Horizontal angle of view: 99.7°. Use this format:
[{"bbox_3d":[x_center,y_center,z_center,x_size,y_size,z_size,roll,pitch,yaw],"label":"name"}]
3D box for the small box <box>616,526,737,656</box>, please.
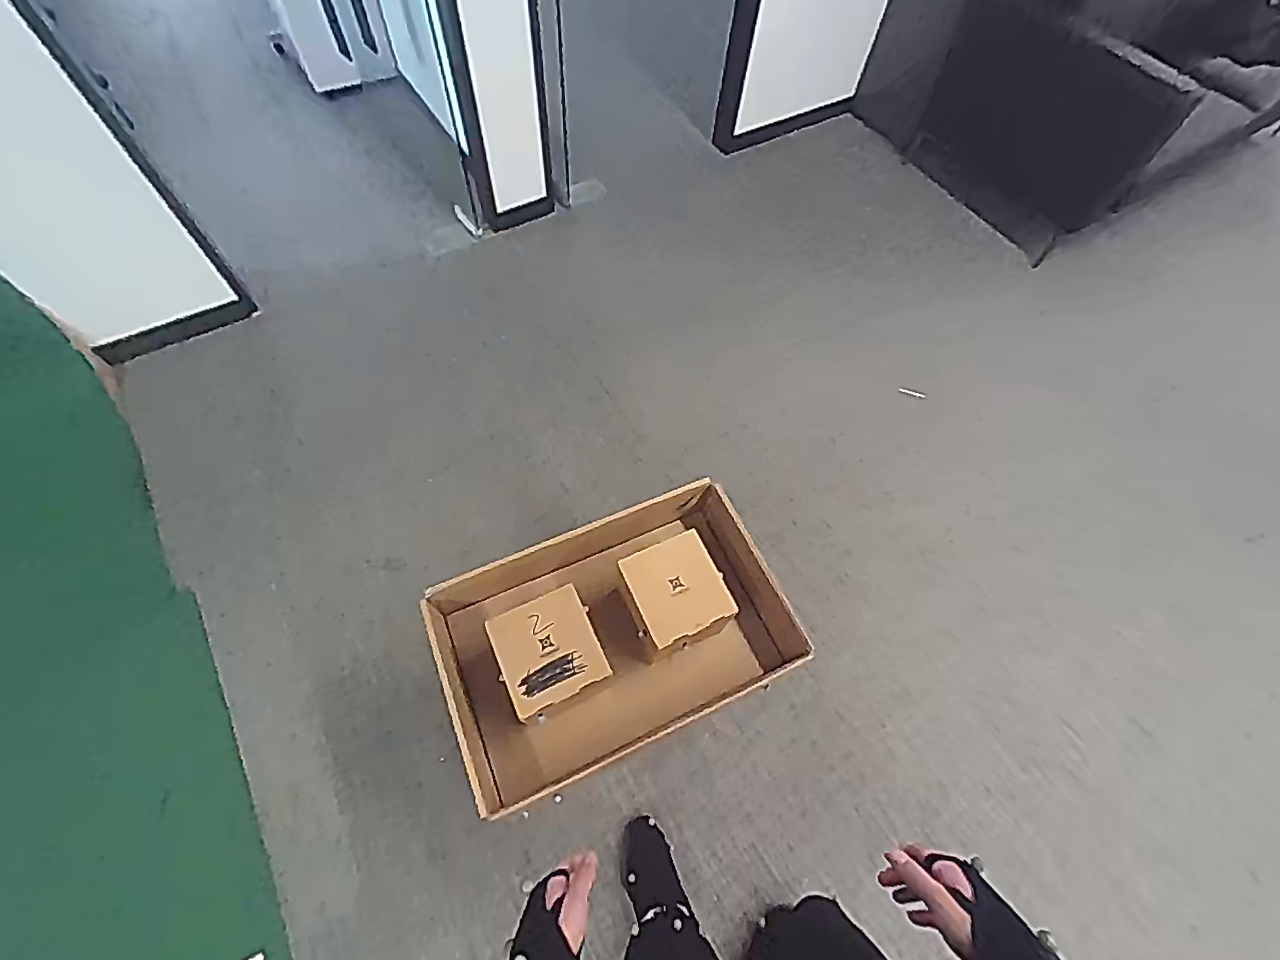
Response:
[{"bbox_3d":[0.059,0.219,1.045,0.168,0.176,0.179,-21,69,-15],"label":"small box"}]
